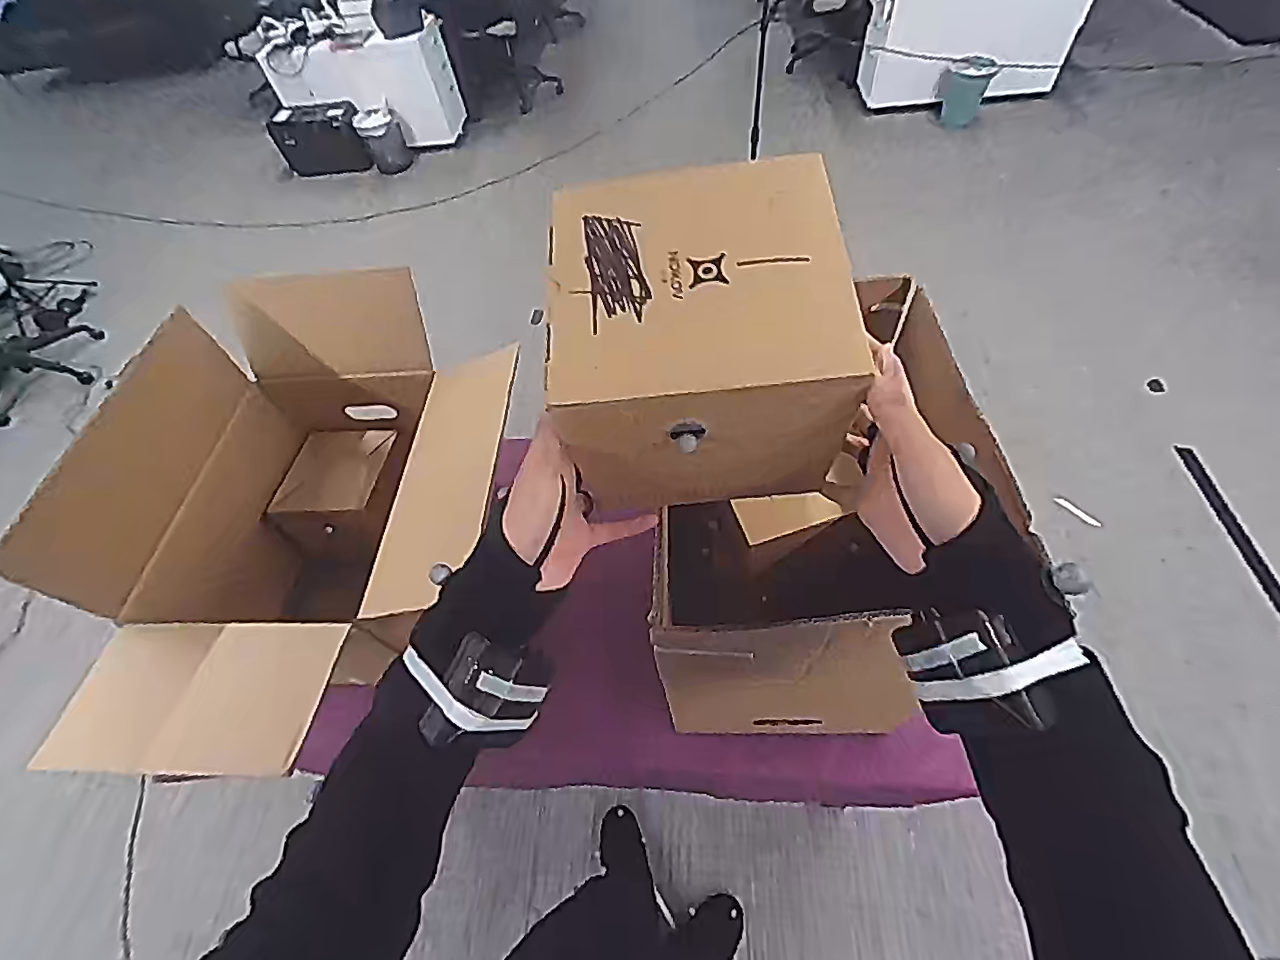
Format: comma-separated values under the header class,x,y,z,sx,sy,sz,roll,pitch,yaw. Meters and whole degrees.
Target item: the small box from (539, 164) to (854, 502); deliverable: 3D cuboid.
class,x,y,z,sx,sy,sz,roll,pitch,yaw
small box,0.037,-0.090,0.398,0.179,0.176,0.168,-5,67,5
